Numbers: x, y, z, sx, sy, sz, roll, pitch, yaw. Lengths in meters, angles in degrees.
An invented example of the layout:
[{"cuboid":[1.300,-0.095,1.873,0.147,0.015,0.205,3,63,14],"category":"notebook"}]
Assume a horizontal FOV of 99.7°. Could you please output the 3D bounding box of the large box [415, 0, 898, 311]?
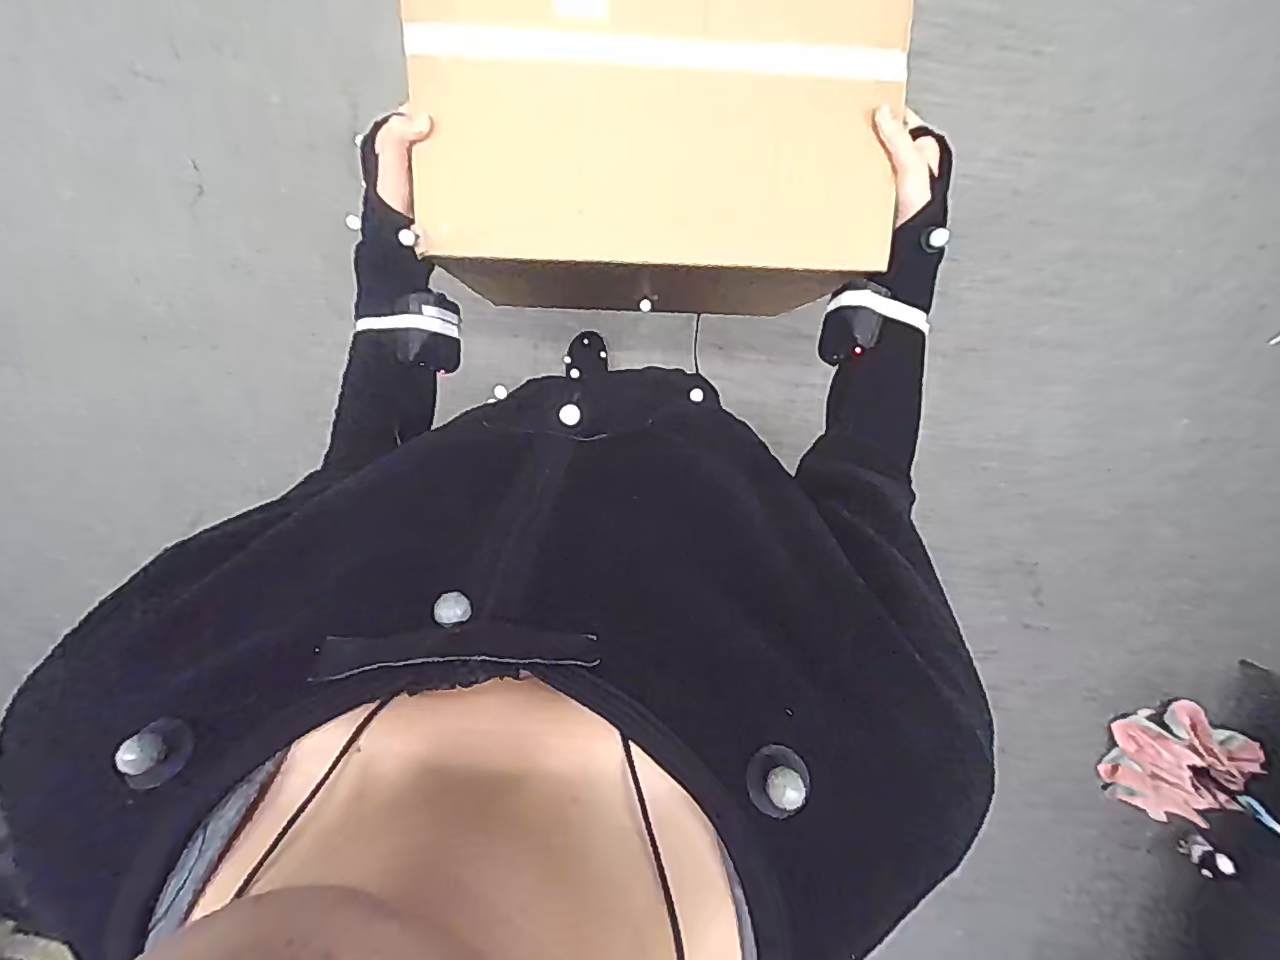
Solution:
[{"cuboid":[0.010,-0.364,0.597,0.408,0.320,0.320,1,99,-3],"category":"large box"}]
